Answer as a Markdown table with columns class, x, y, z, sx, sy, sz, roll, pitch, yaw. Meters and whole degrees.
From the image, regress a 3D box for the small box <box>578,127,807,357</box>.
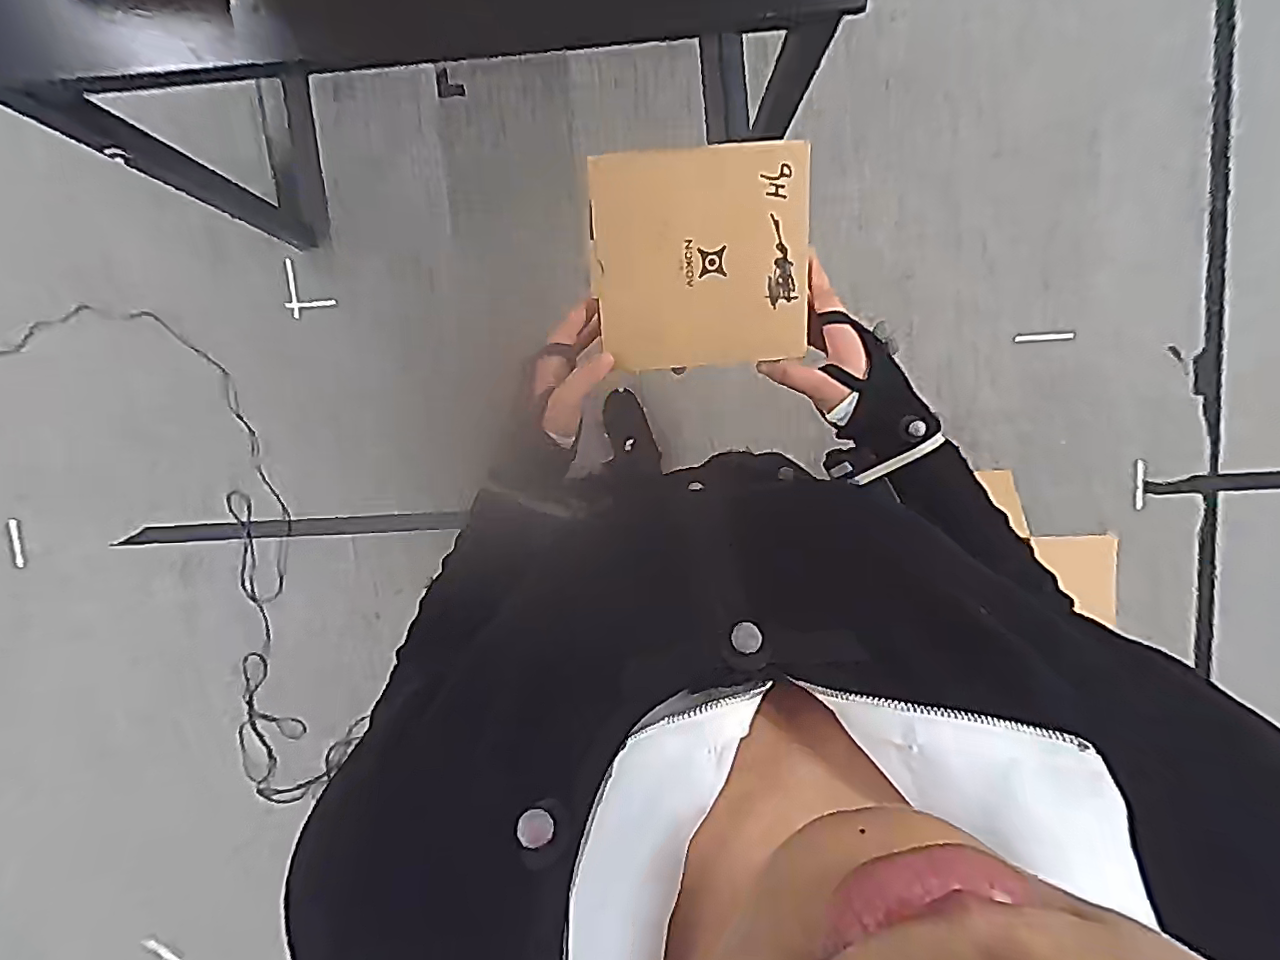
| class | x | y | z | sx | sy | sz | roll | pitch | yaw |
| --- | --- | --- | --- | --- | --- | --- | --- | --- | --- |
| small box | 0.043 | -0.207 | 0.507 | 0.179 | 0.176 | 0.168 | -4 | 107 | 0 |
